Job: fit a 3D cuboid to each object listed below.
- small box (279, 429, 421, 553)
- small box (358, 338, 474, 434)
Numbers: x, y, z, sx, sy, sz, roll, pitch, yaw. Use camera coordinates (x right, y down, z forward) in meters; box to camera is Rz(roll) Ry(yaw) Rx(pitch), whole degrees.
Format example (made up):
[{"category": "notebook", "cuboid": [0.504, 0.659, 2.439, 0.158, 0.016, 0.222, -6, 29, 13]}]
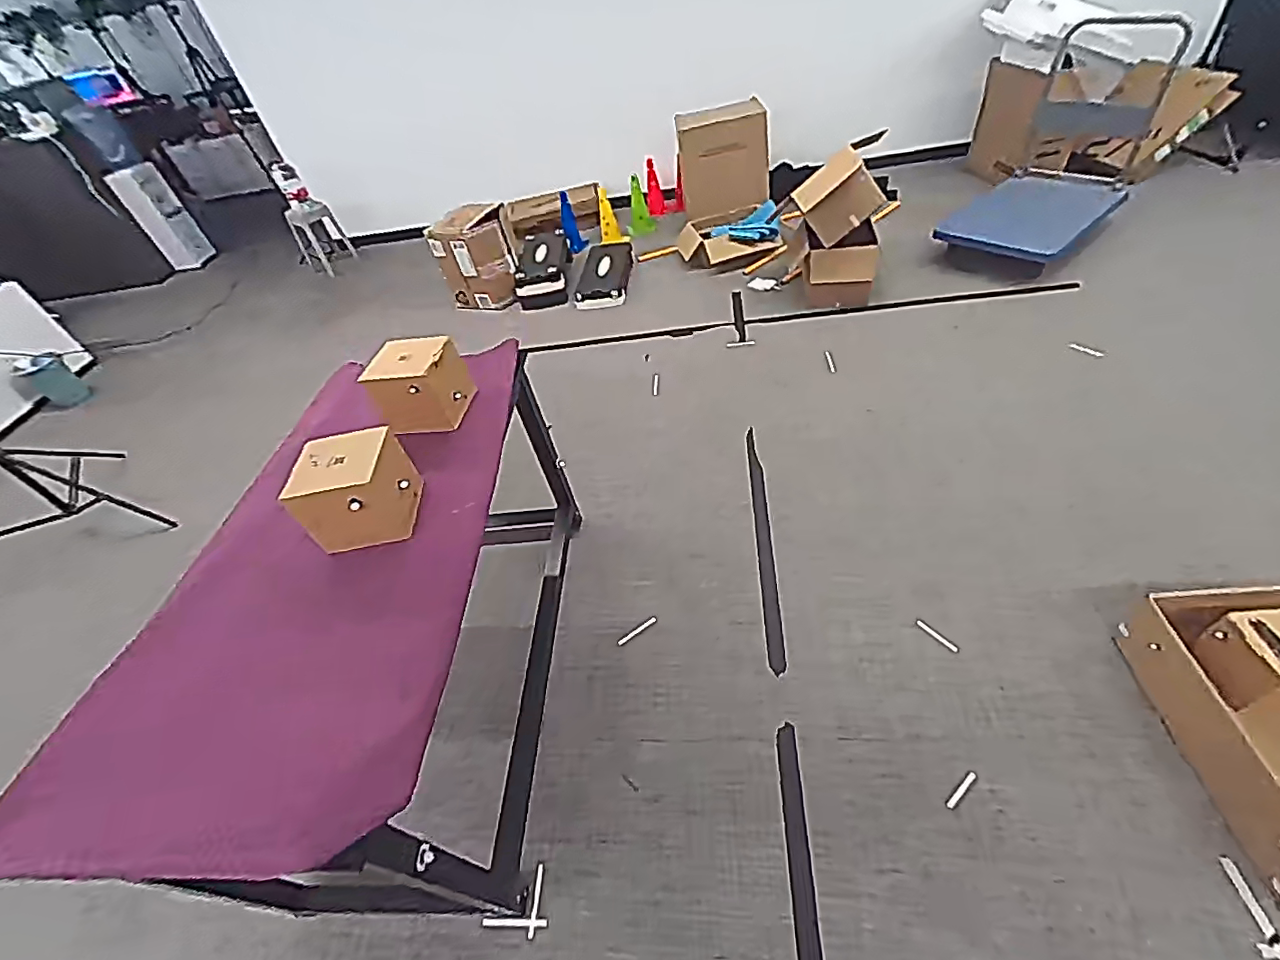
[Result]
[{"category": "small box", "cuboid": [-0.568, 0.024, 1.091, 0.179, 0.176, 0.168, -11, 45, 2]}, {"category": "small box", "cuboid": [-0.540, -0.226, 1.327, 0.179, 0.176, 0.168, -2, 46, 12]}]
